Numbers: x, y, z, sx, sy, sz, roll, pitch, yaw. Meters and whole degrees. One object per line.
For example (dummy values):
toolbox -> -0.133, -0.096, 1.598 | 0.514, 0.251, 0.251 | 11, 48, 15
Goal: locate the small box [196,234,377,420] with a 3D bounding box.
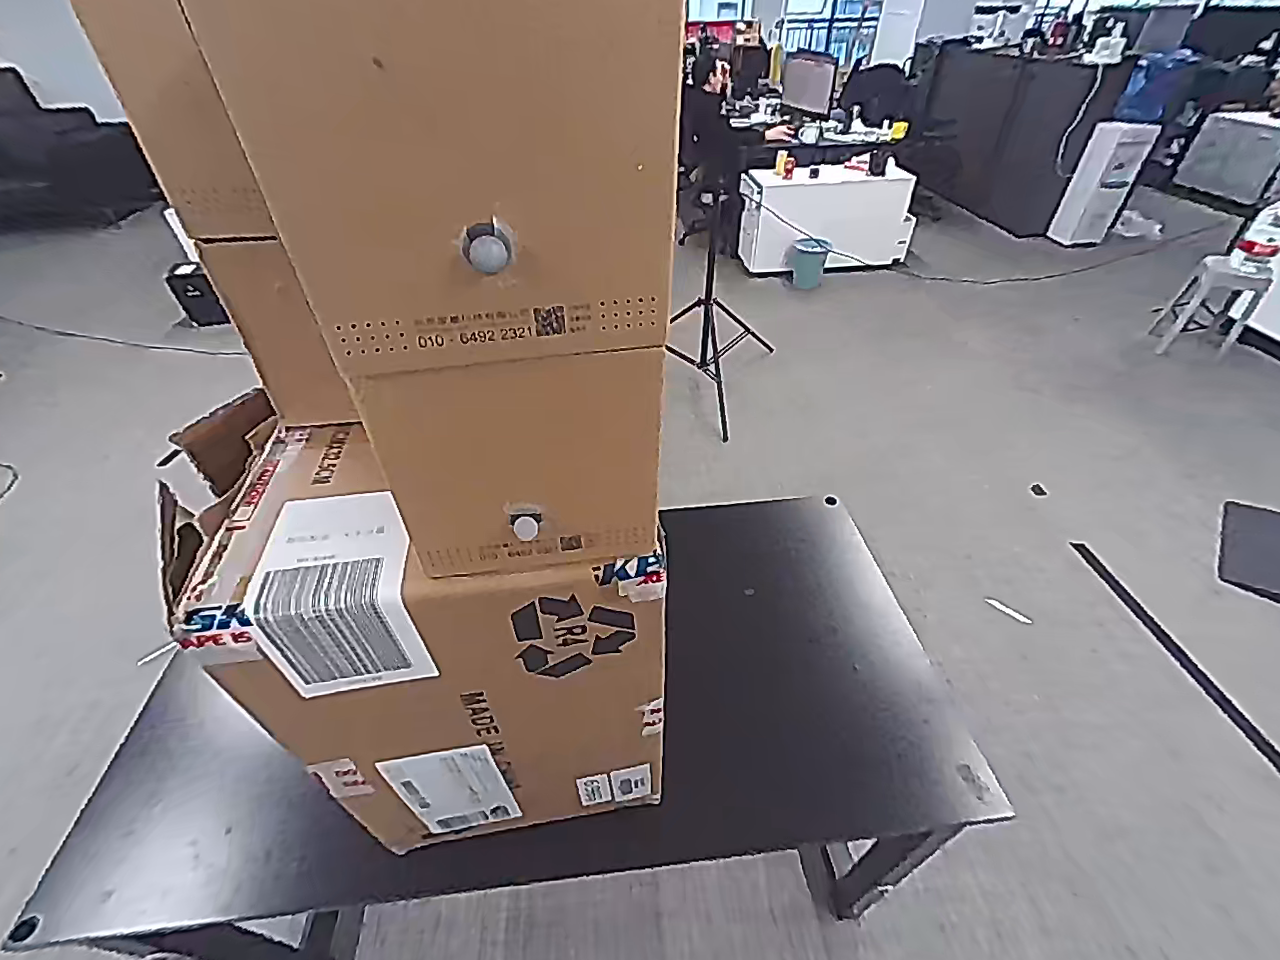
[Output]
small box -> -0.253, -0.170, 0.517 | 0.179, 0.176, 0.168 | -7, 40, -7

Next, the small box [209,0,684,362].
small box -> -0.081, -0.180, 0.279 | 0.168, 0.176, 0.179 | -8, 43, -9

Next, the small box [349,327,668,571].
small box -> -0.079, -0.059, 0.392 | 0.168, 0.176, 0.179 | -6, 43, -7

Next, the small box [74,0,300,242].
small box -> -0.252, -0.293, 0.410 | 0.179, 0.176, 0.168 | -9, 40, -10
